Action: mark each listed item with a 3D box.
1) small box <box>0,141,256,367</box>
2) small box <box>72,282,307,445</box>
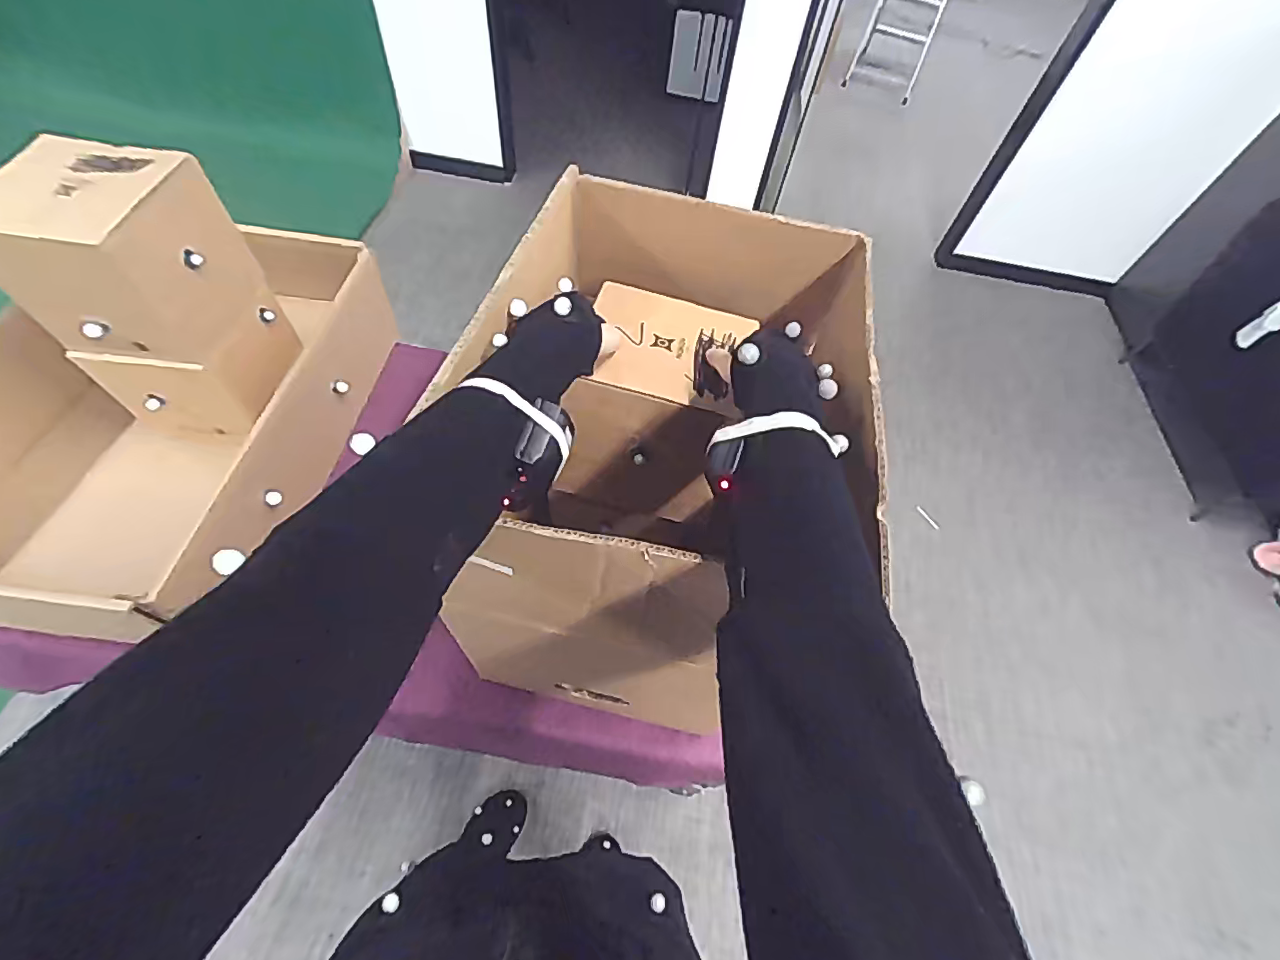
[{"bbox_3d":[-0.605,-0.262,0.643,0.168,0.176,0.179,6,58,-1],"label":"small box"},{"bbox_3d":[-0.619,-0.168,0.777,0.168,0.176,0.179,5,57,-2],"label":"small box"}]
